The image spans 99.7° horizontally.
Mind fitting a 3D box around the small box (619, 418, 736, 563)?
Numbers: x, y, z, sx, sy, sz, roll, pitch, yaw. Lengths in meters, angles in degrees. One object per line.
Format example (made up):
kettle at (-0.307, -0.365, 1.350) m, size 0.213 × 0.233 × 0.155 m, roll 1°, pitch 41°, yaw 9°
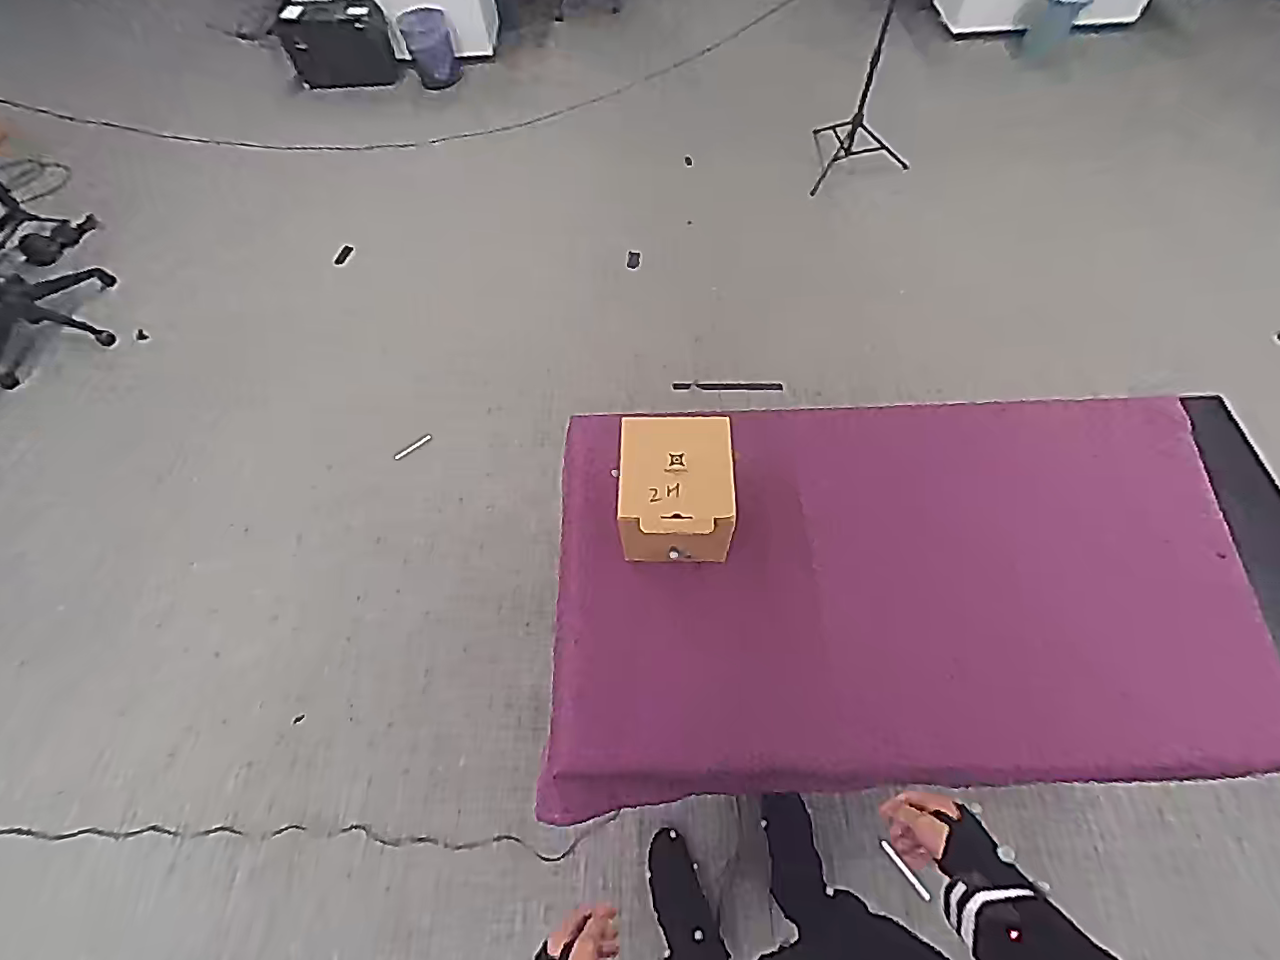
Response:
small box at (0.057, 0.020, 0.858) m, size 0.168 × 0.176 × 0.179 m, roll 0°, pitch 62°, yaw 3°
